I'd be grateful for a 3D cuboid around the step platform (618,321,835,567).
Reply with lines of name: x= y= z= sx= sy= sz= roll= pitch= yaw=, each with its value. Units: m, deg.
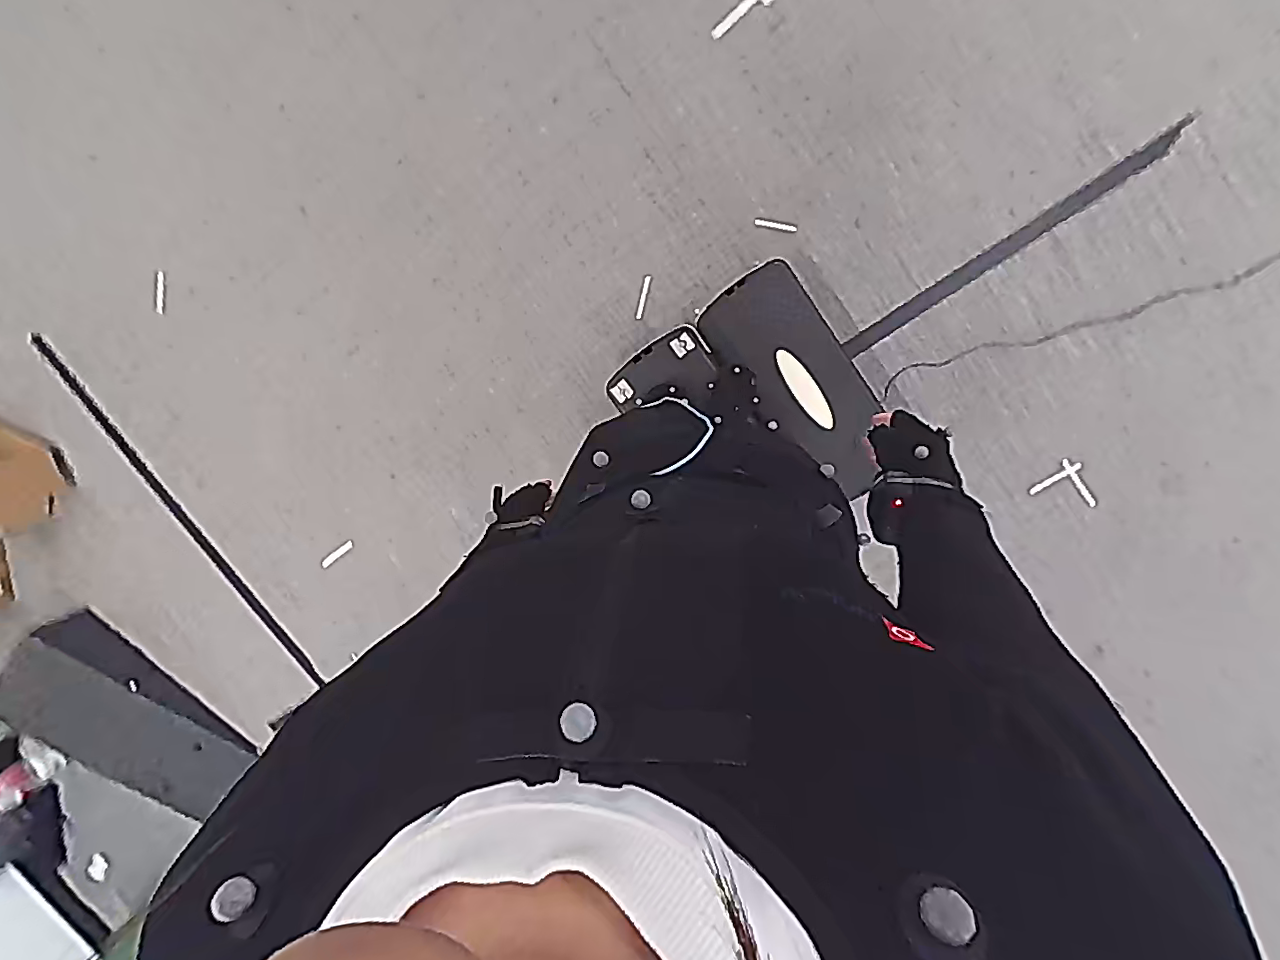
step platform: x=0.238 y=-0.096 z=1.498 sx=0.286 sy=0.204 sz=0.684 roll=-36 pitch=94 yaw=14
